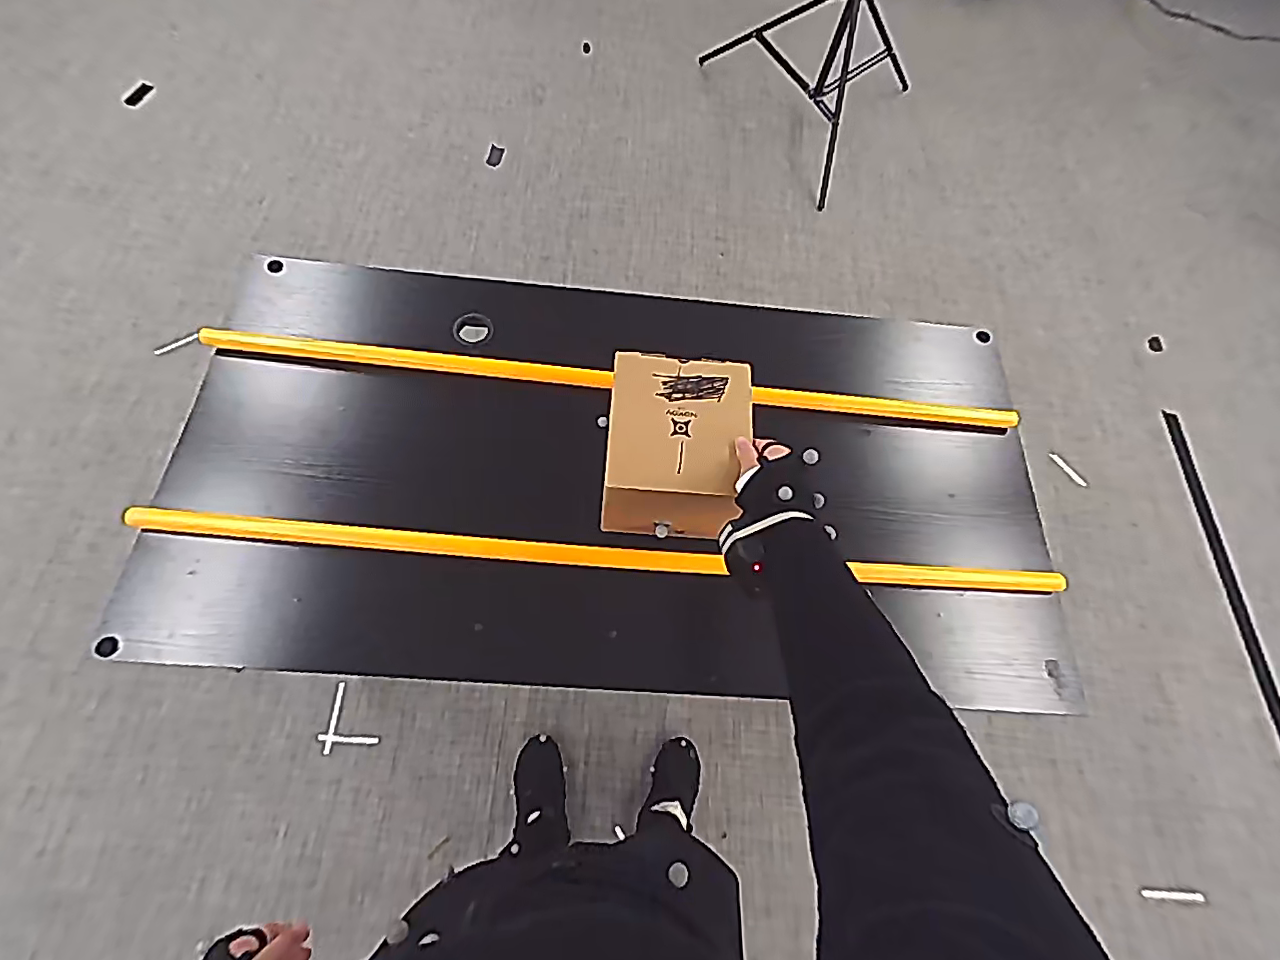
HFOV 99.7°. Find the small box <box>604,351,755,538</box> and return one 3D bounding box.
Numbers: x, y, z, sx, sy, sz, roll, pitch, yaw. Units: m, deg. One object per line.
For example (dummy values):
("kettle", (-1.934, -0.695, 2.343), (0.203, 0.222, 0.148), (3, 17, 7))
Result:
("small box", (0.043, -0.038, 0.693), (0.168, 0.176, 0.179), (5, 68, -3))
